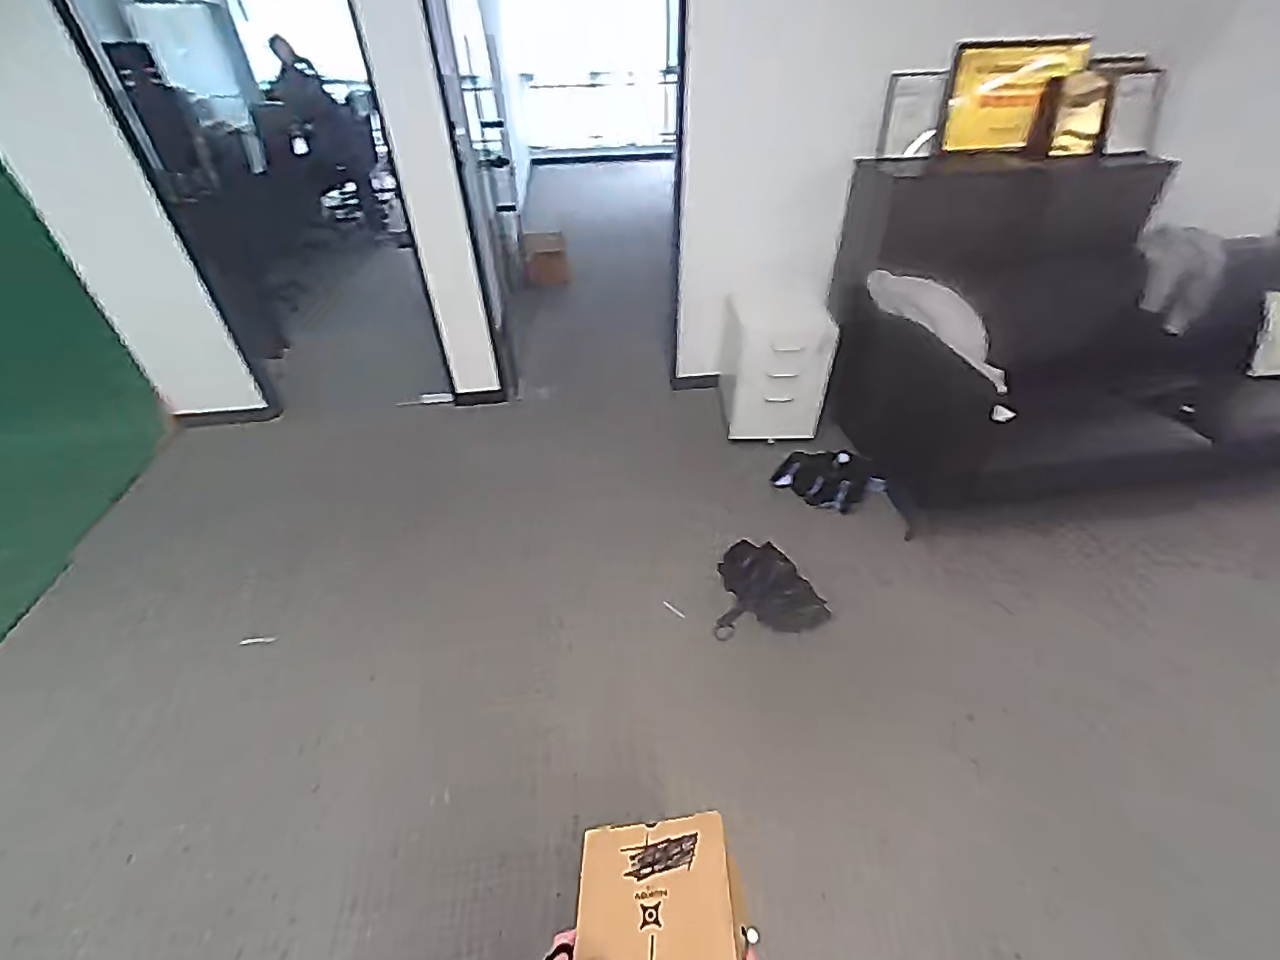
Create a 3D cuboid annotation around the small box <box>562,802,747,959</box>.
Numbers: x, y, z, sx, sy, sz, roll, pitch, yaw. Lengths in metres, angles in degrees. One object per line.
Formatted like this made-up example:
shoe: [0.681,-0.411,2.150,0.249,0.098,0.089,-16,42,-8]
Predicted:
small box: [0.023,0.510,0.614,0.168,0.176,0.179,-15,28,9]
